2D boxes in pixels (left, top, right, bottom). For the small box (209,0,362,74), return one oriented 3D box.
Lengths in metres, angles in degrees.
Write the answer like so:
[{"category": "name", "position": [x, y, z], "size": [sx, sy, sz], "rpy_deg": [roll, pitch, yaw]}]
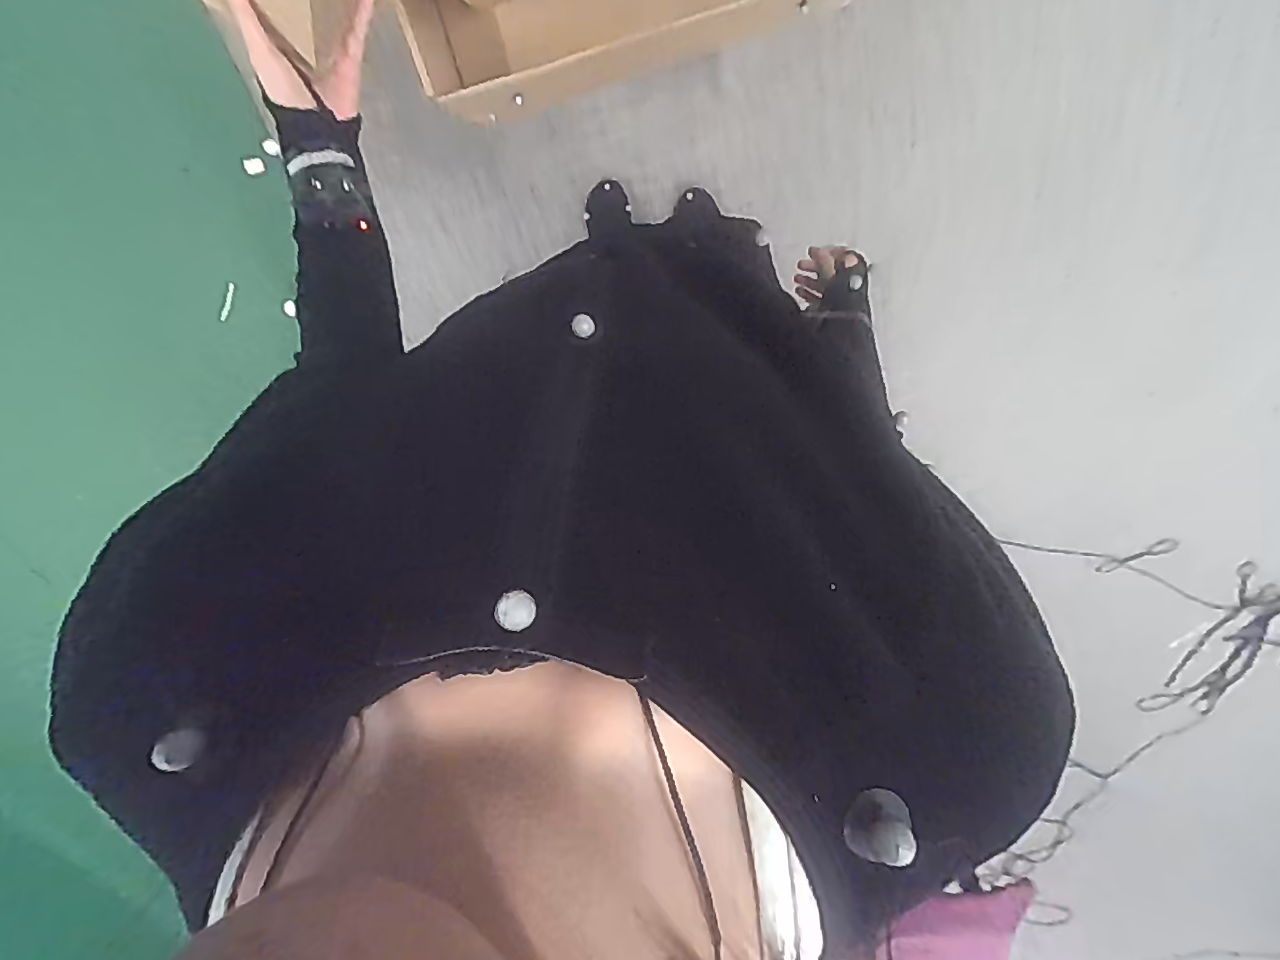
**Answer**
[{"category": "small box", "position": [-0.265, -0.447, 0.363], "size": [0.168, 0.179, 0.176], "rpy_deg": [30, 75, -23]}]
